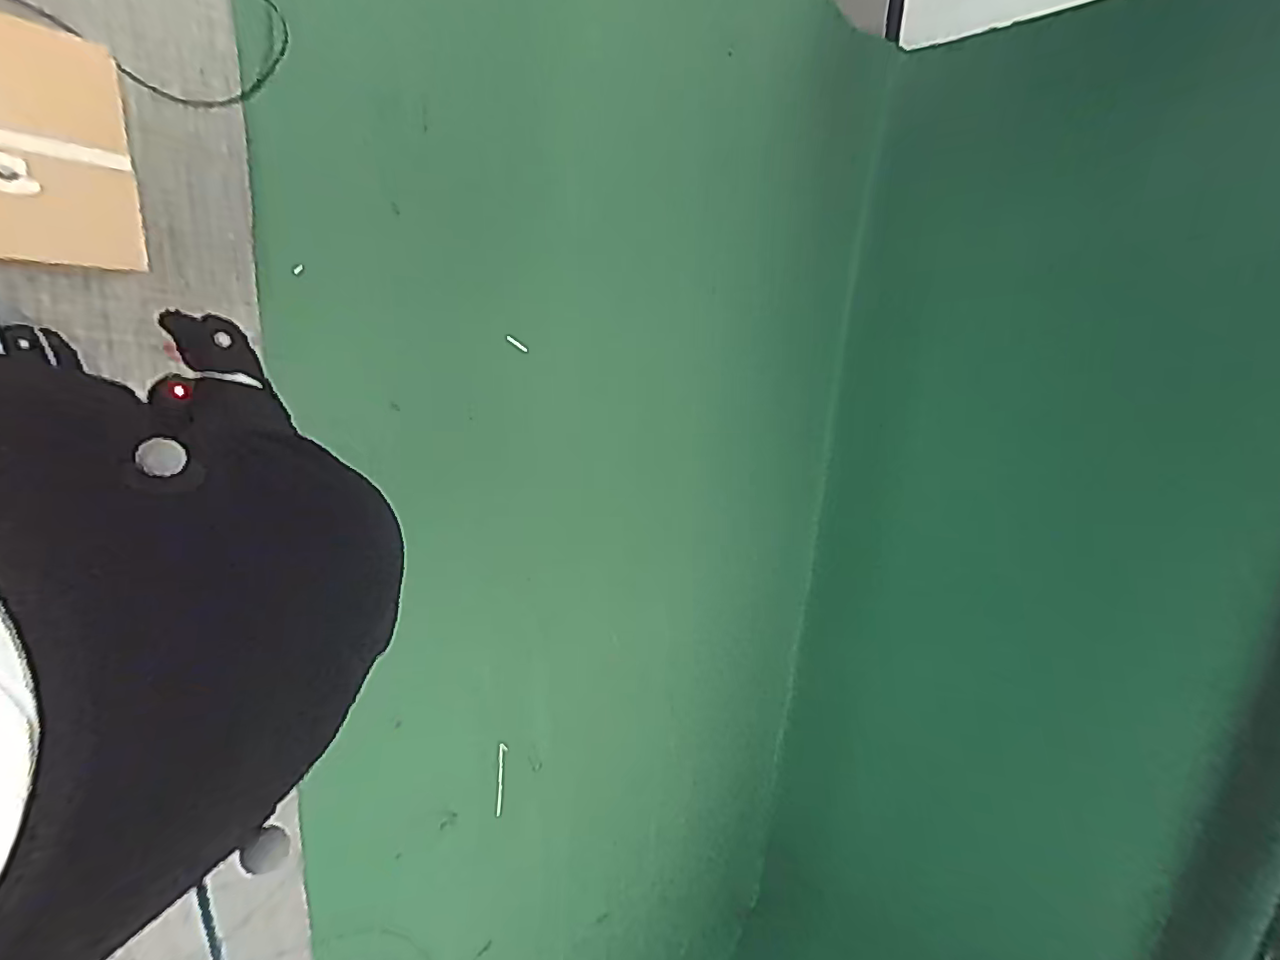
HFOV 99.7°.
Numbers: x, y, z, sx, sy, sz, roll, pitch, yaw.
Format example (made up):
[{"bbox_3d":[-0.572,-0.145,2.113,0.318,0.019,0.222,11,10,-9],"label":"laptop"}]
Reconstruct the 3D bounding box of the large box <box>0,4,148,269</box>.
[{"bbox_3d":[-1.026,-0.495,0.776,0.408,0.320,0.320,-13,113,-48],"label":"large box"}]
